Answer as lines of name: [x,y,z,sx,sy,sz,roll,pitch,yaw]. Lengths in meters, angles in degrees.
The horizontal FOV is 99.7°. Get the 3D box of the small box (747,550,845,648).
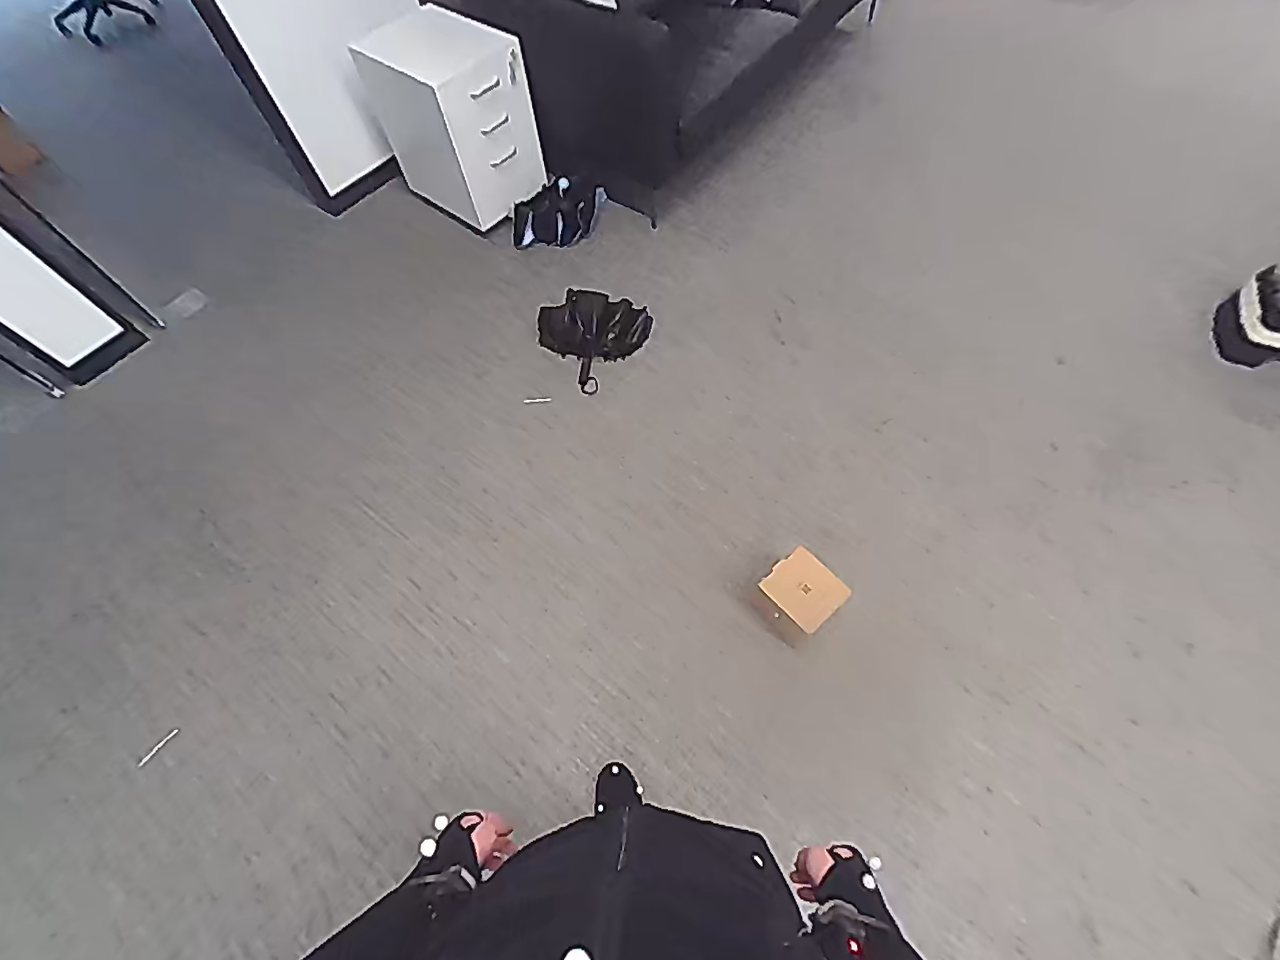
small box: [0.410,0.324,1.453,0.168,0.176,0.179,-39,67,-16]
